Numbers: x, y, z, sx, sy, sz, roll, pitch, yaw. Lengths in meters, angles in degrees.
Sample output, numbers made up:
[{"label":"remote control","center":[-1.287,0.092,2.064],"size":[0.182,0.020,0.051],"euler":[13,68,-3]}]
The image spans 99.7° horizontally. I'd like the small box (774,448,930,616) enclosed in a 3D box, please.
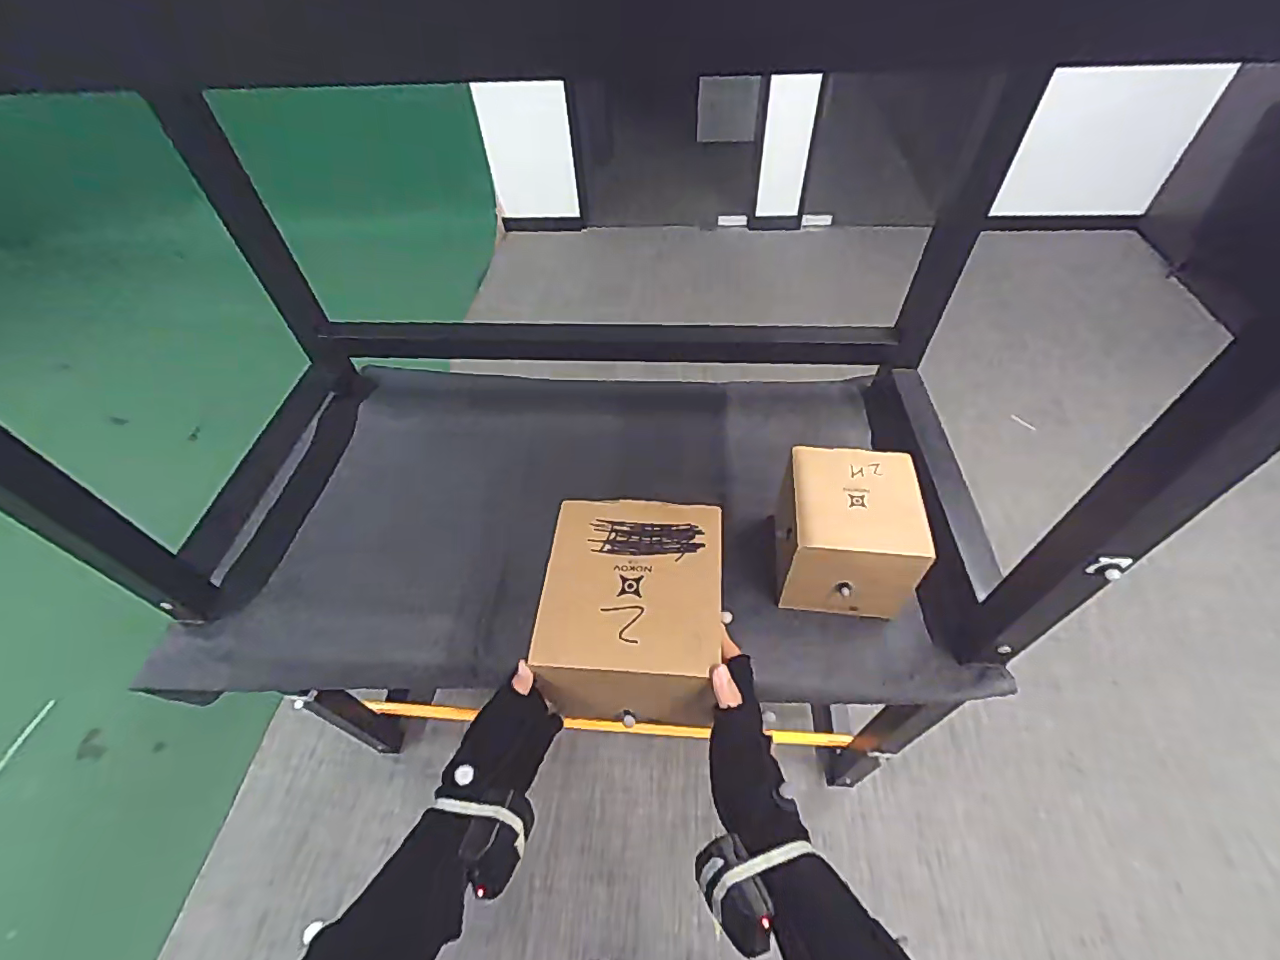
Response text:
[{"label":"small box","center":[0.289,0.078,0.778],"size":[0.168,0.176,0.179],"euler":[5,50,7]}]
